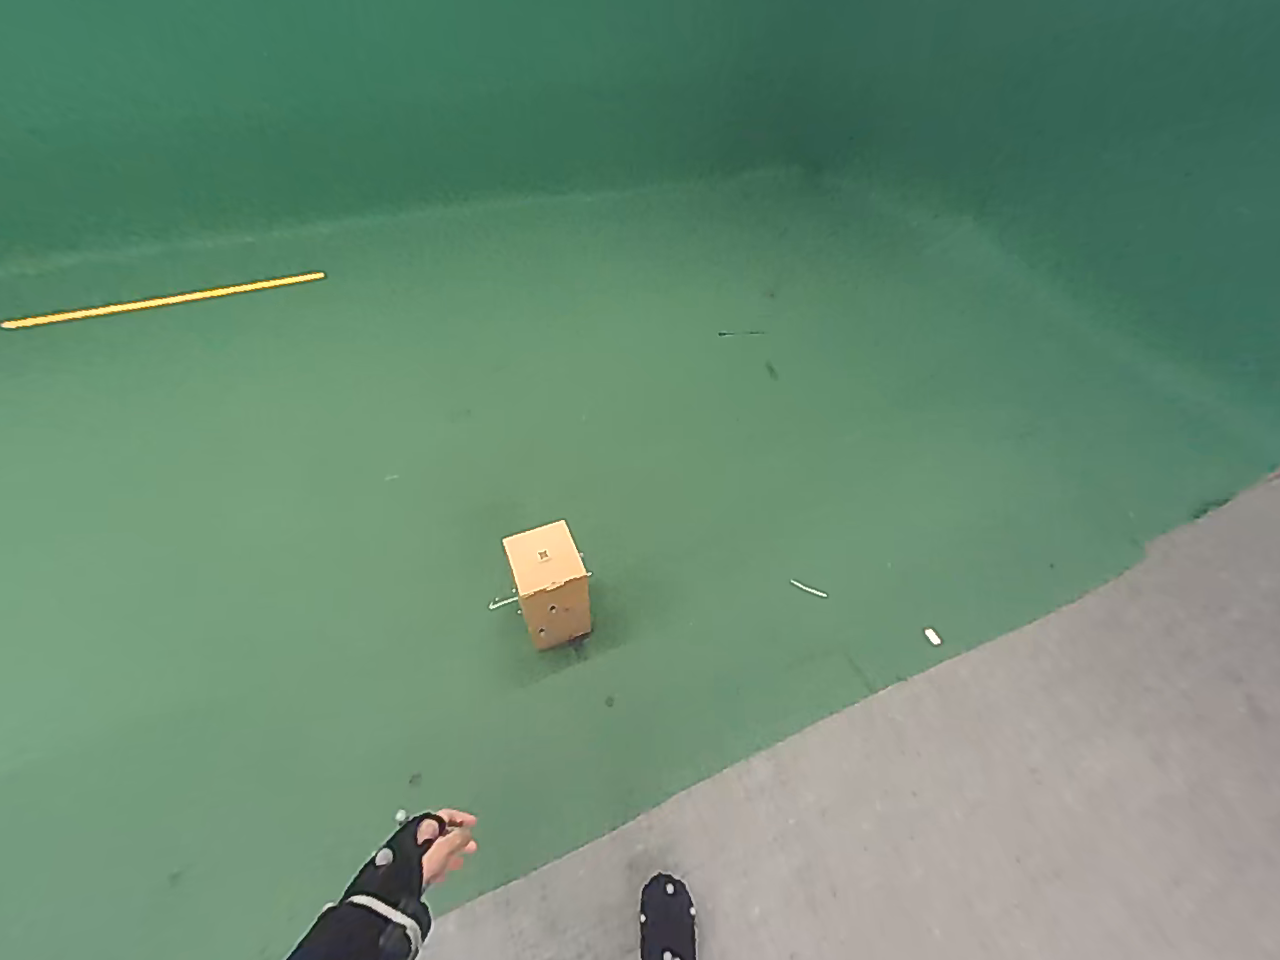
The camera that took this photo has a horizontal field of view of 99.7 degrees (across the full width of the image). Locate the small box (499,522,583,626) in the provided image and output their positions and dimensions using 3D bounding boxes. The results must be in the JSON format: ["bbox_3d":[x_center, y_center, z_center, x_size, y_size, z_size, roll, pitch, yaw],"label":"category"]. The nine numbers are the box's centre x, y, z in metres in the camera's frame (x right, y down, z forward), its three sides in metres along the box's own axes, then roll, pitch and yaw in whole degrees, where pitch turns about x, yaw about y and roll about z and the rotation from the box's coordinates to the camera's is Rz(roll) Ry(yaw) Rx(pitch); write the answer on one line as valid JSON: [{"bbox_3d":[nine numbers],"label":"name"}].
[{"bbox_3d":[-0.251,0.241,1.377,0.168,0.176,0.179,-16,54,-18],"label":"small box"}]
